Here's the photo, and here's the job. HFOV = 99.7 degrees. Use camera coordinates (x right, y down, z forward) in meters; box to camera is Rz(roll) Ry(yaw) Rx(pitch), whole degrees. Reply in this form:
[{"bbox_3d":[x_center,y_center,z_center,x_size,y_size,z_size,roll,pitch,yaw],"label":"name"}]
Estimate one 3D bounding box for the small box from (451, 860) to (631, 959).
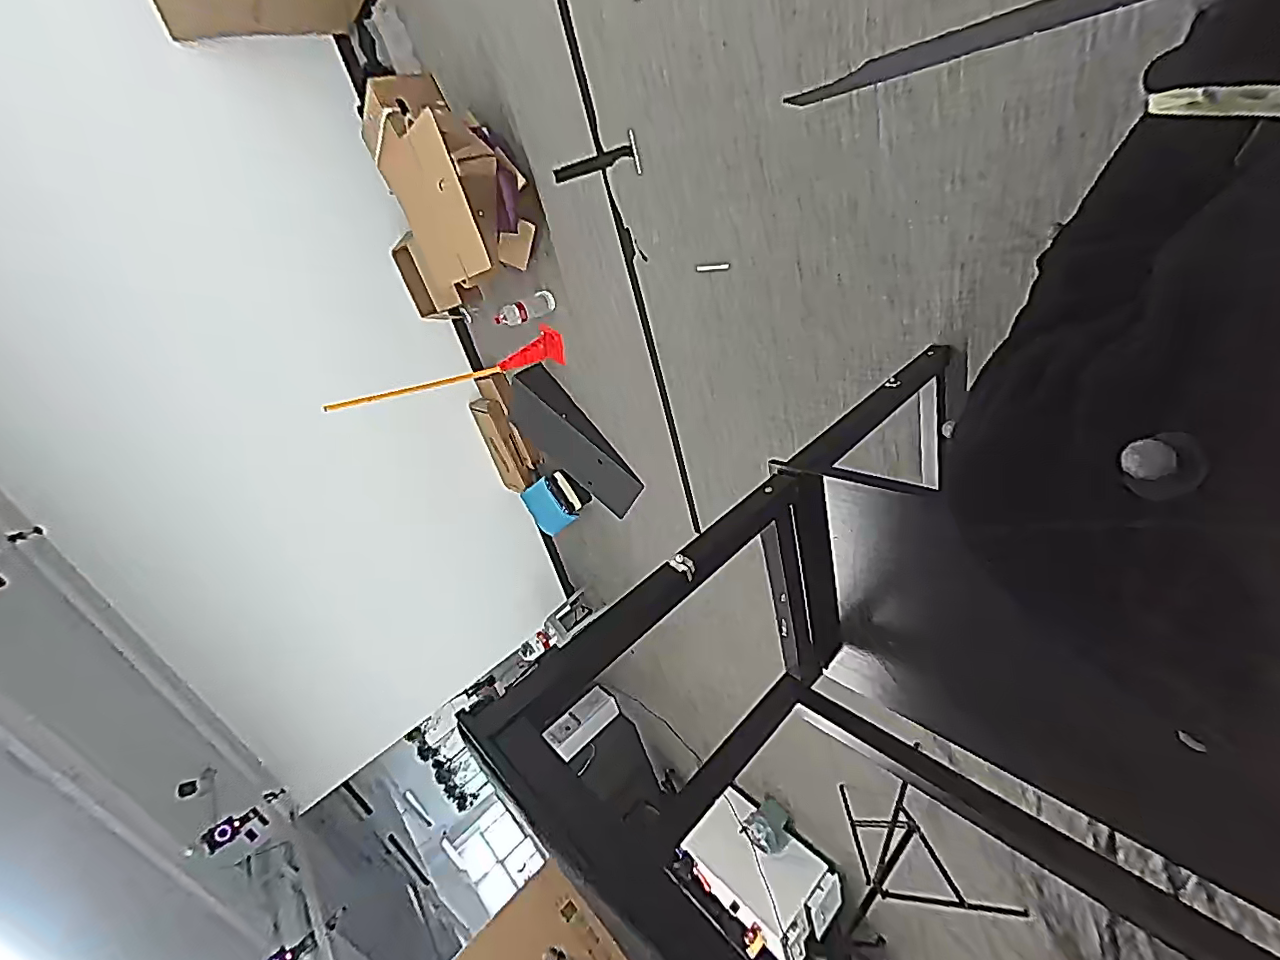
[{"bbox_3d":[-0.083,0.549,0.551,0.168,0.176,0.179,19,135,45],"label":"small box"}]
